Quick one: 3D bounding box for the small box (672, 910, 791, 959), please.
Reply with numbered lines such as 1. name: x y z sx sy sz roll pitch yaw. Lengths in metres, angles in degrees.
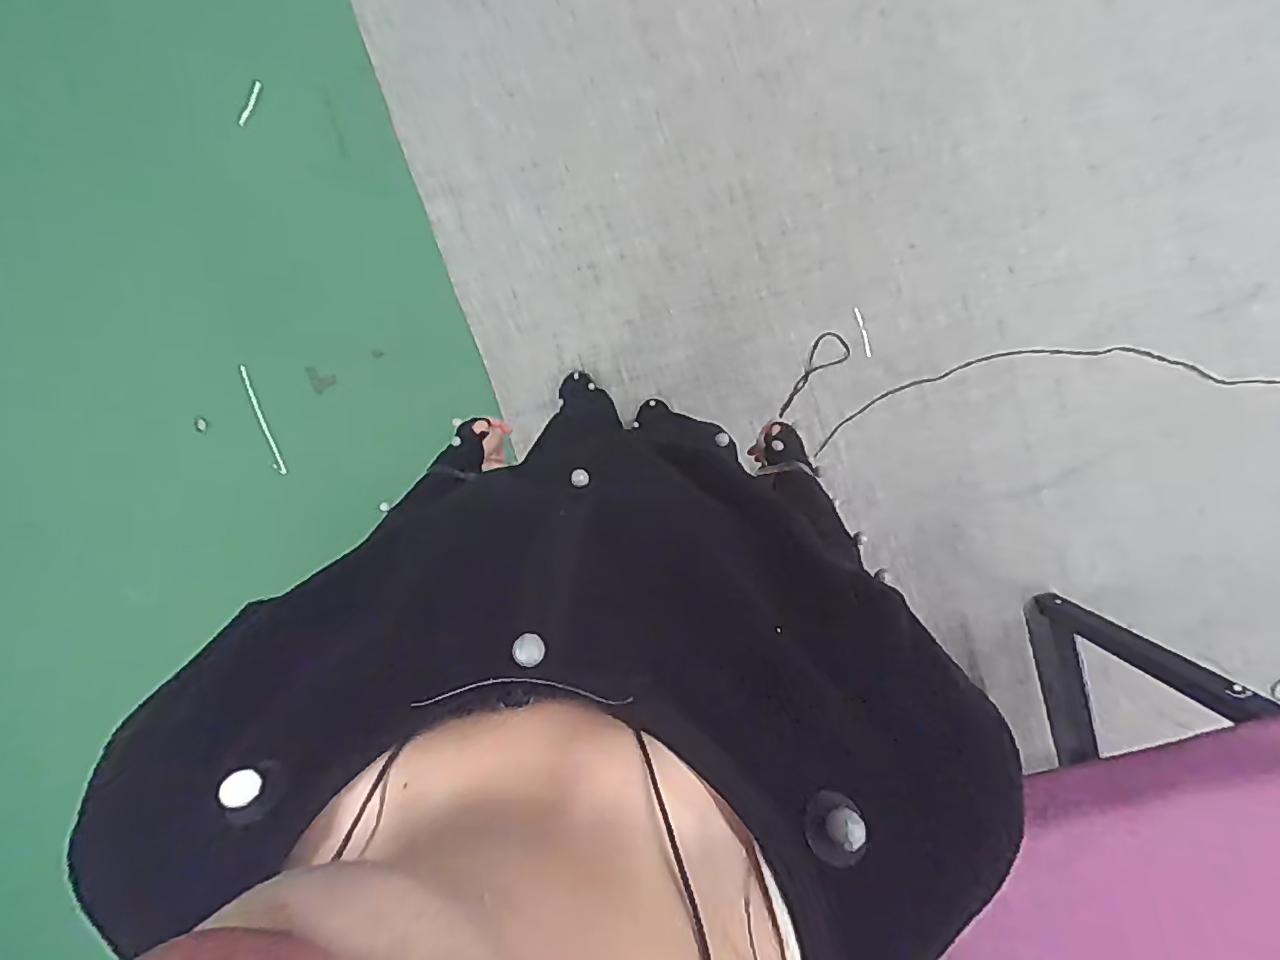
1. small box: 0.149 0.789 0.791 0.179 0.176 0.168 -21 97 5
